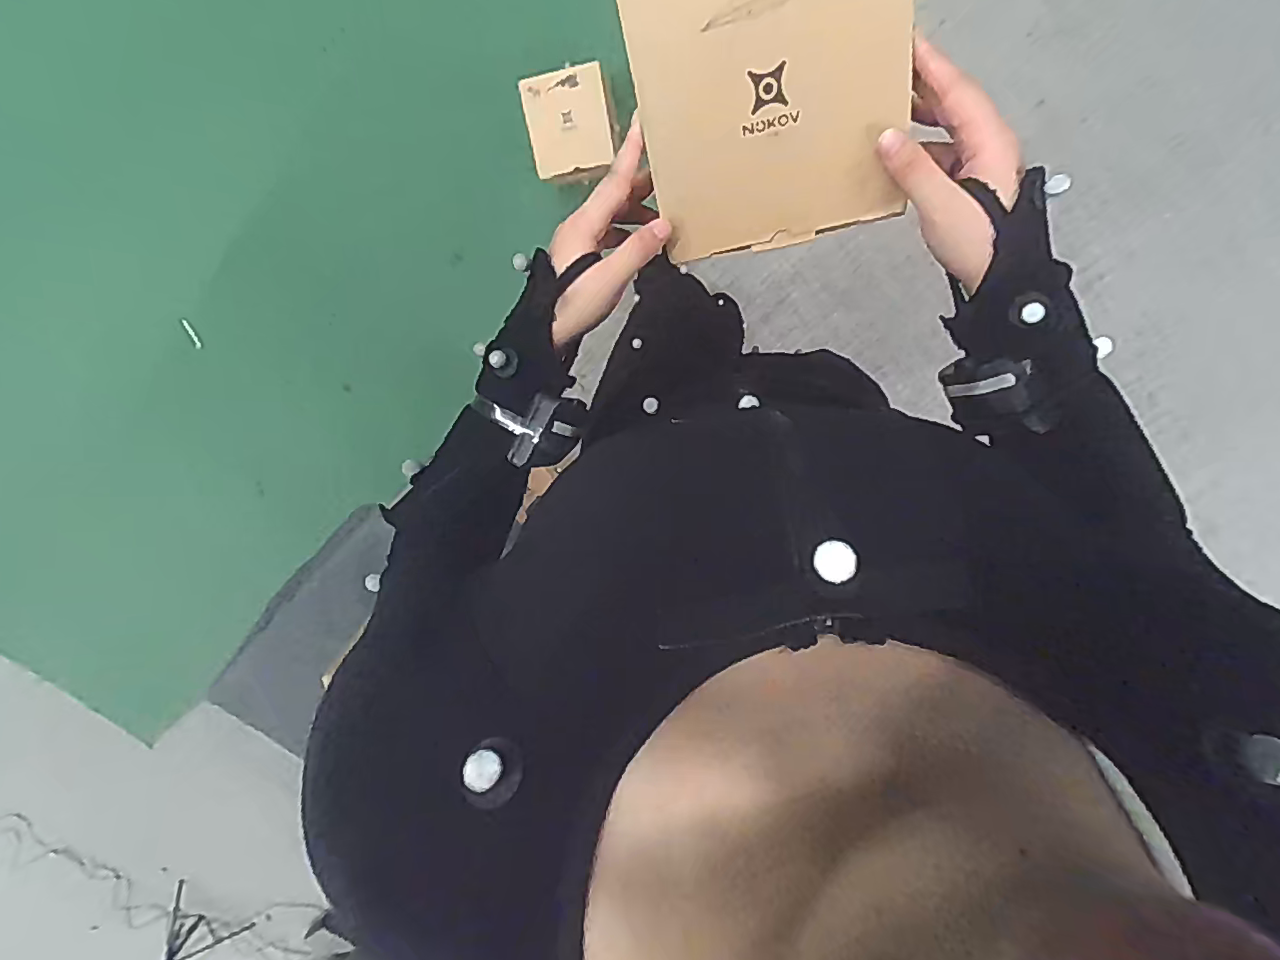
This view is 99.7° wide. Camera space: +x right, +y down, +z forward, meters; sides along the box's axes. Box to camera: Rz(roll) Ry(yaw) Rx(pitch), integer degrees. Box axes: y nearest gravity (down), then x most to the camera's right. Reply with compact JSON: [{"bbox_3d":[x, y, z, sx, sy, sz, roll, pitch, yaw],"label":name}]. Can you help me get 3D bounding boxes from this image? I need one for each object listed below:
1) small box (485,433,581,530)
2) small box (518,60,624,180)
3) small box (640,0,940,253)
[{"bbox_3d":[-0.284,-0.002,1.481,0.168,0.176,0.179,-35,106,18],"label":"small box"},{"bbox_3d":[-0.135,-0.740,1.134,0.168,0.176,0.179,-7,114,8],"label":"small box"},{"bbox_3d":[0.103,-0.289,0.392,0.168,0.176,0.179,-7,123,14],"label":"small box"}]
